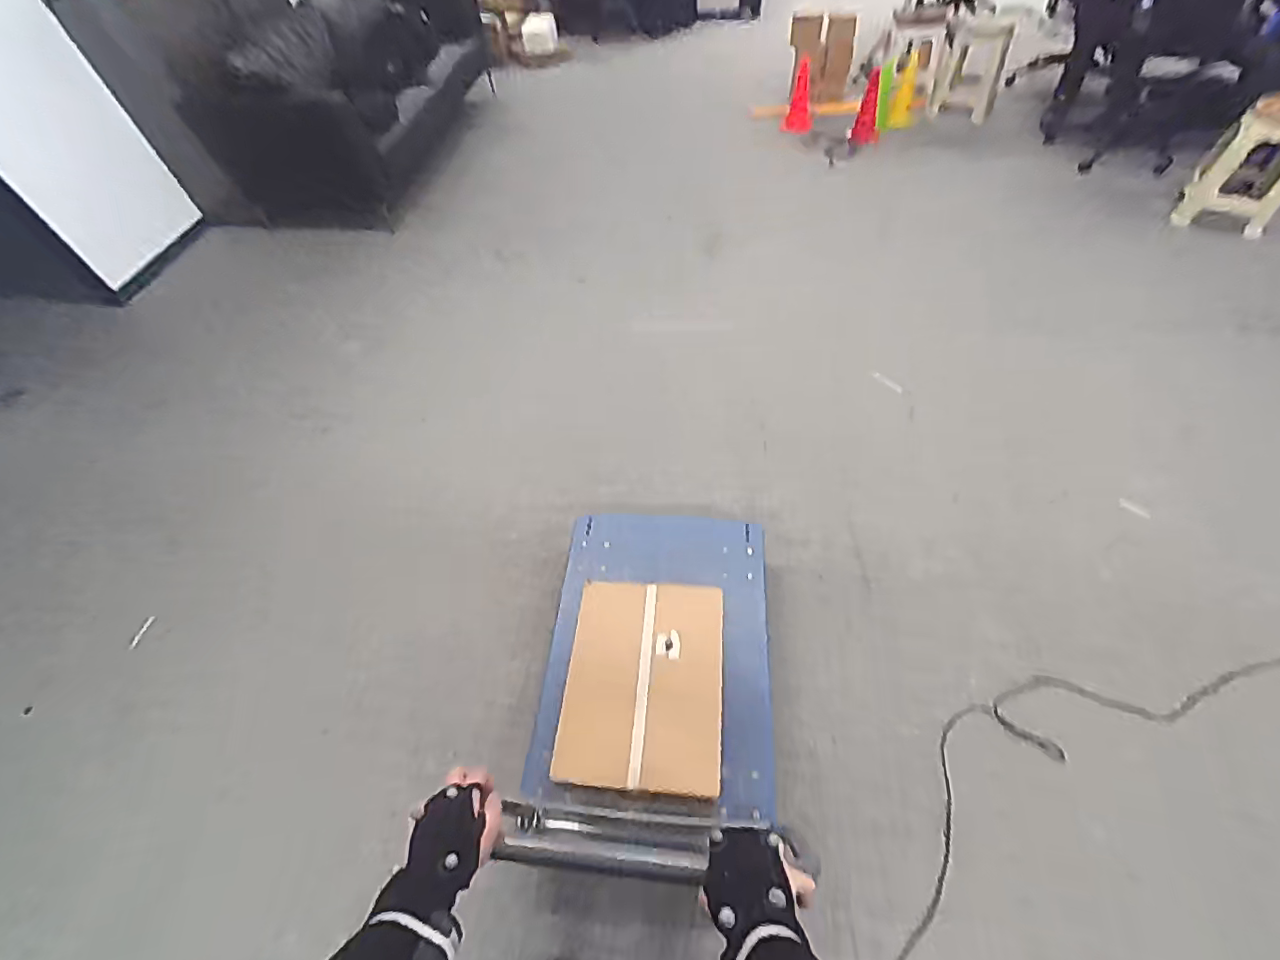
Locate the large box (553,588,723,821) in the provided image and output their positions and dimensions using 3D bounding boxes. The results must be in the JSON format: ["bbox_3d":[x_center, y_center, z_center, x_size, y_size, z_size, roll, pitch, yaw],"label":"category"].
[{"bbox_3d":[0.022,0.496,1.200,0.320,0.320,0.408,2,52,7],"label":"large box"}]
